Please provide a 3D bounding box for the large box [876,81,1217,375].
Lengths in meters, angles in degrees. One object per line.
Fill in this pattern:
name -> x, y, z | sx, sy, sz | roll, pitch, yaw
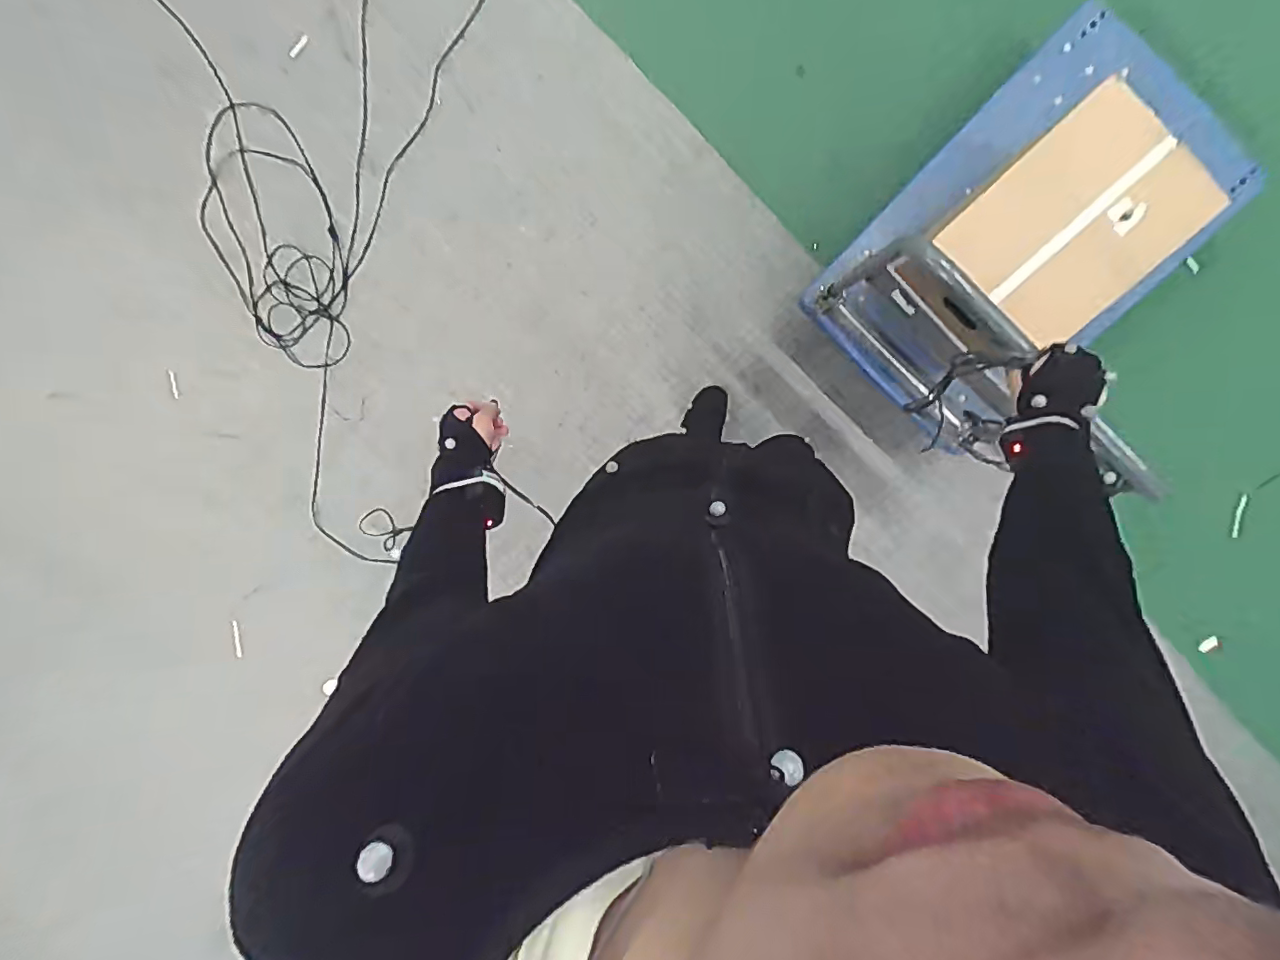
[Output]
large box -> 0.790, -0.475, 1.127 | 0.408, 0.320, 0.320 | -43, 93, 9
